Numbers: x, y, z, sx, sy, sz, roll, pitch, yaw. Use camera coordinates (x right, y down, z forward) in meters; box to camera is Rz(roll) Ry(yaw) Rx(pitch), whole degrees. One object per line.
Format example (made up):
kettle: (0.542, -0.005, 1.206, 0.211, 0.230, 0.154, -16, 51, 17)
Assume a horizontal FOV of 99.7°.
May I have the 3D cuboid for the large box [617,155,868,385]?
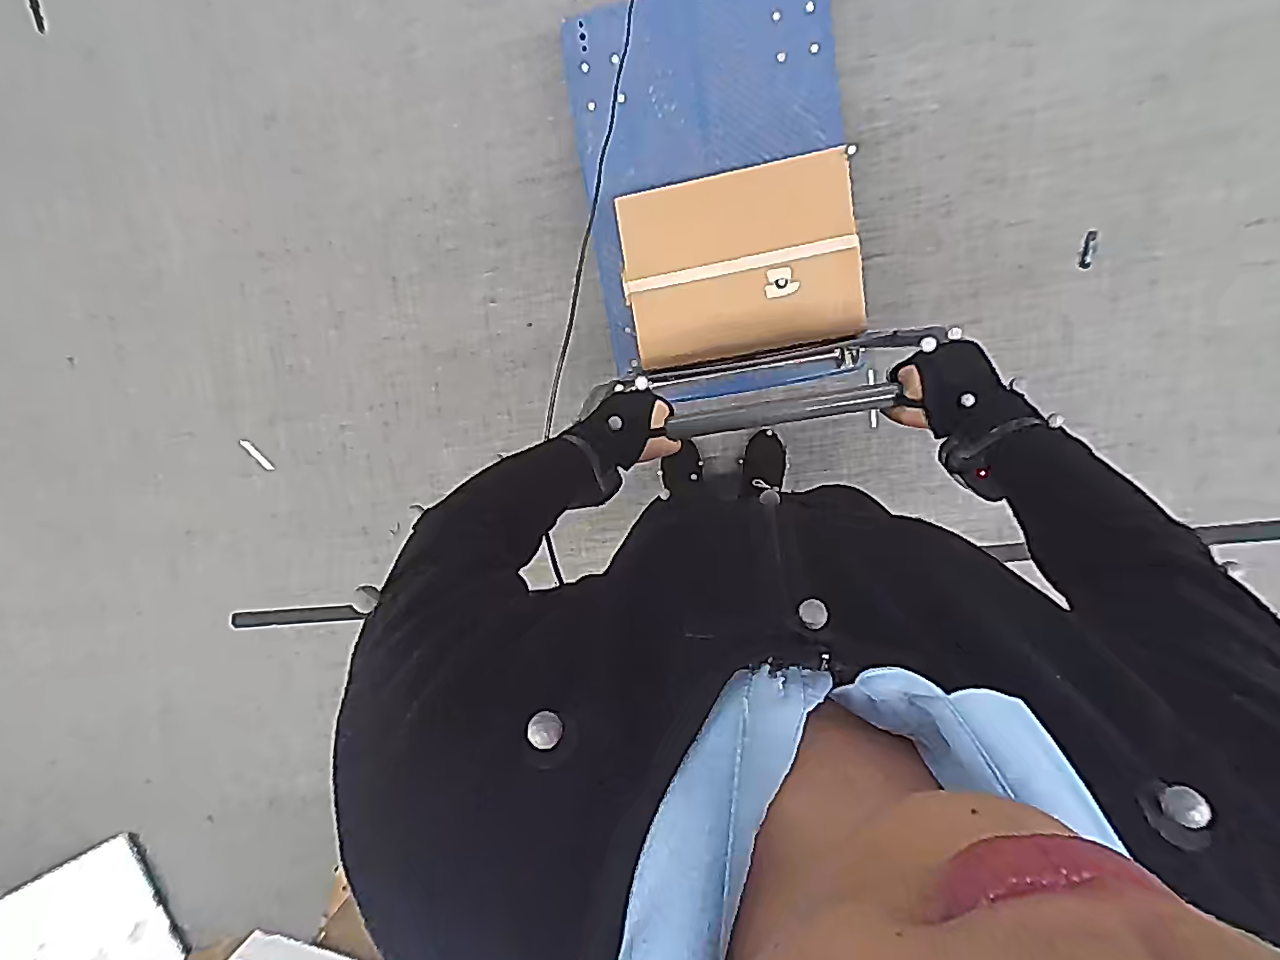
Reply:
large box: (0.194, -0.384, 1.093, 0.408, 0.320, 0.320, -9, 98, 8)
